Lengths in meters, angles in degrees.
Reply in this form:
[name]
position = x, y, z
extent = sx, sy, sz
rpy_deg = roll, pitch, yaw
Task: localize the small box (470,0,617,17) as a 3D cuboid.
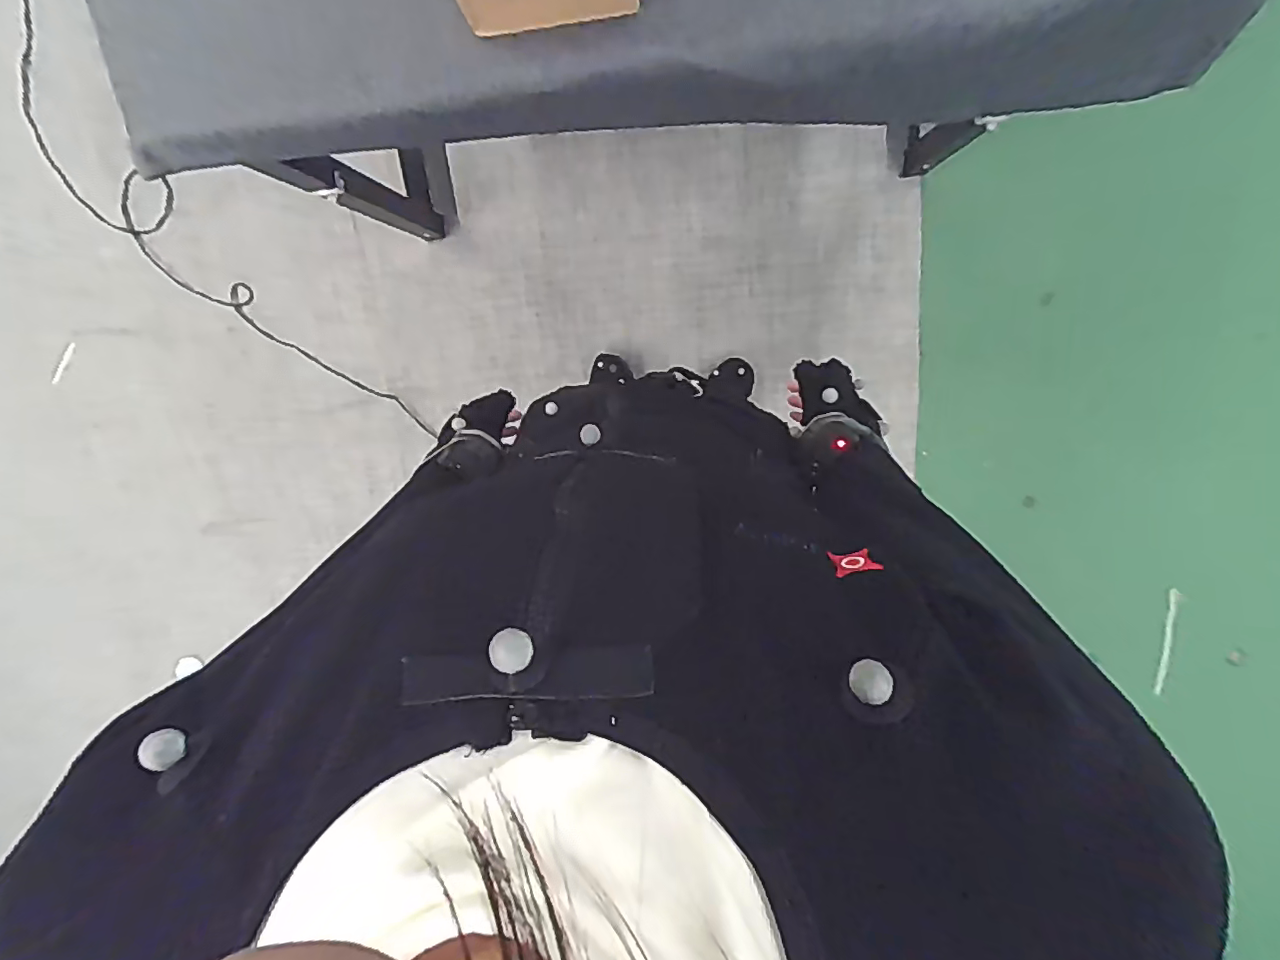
[small box]
position = -0.098, -0.547, 0.467
extent = 0.179, 0.176, 0.168
rpy_deg = -5, 103, 4
